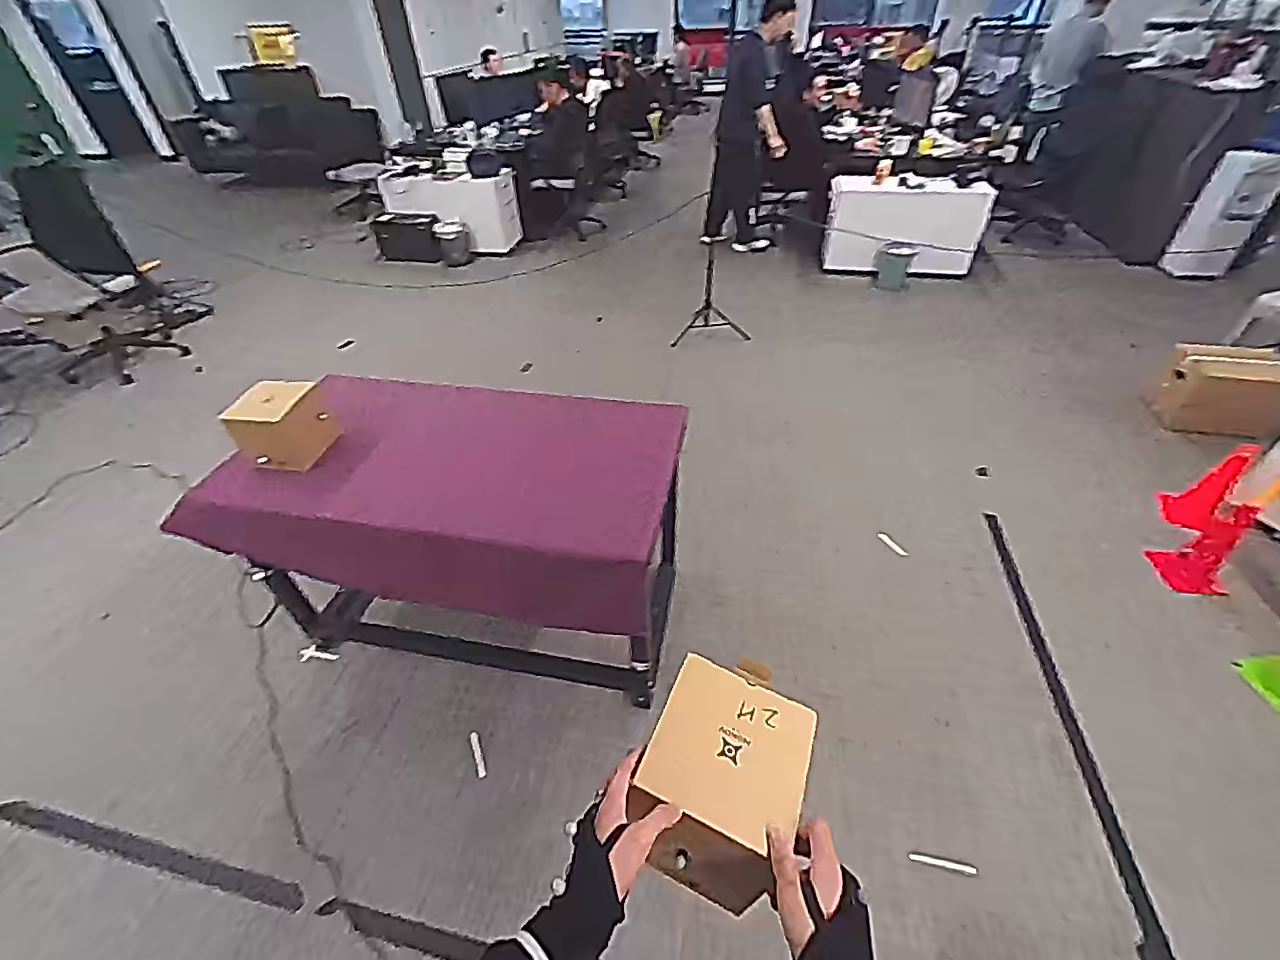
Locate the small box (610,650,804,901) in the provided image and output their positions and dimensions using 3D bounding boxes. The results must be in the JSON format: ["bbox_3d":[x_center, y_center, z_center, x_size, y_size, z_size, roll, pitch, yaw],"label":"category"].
[{"bbox_3d":[0.075,0.347,0.638,0.168,0.176,0.179,22,38,11],"label":"small box"}]

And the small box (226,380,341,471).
[{"bbox_3d":[-0.941,-0.148,1.453,0.168,0.176,0.179,4,42,7],"label":"small box"}]
